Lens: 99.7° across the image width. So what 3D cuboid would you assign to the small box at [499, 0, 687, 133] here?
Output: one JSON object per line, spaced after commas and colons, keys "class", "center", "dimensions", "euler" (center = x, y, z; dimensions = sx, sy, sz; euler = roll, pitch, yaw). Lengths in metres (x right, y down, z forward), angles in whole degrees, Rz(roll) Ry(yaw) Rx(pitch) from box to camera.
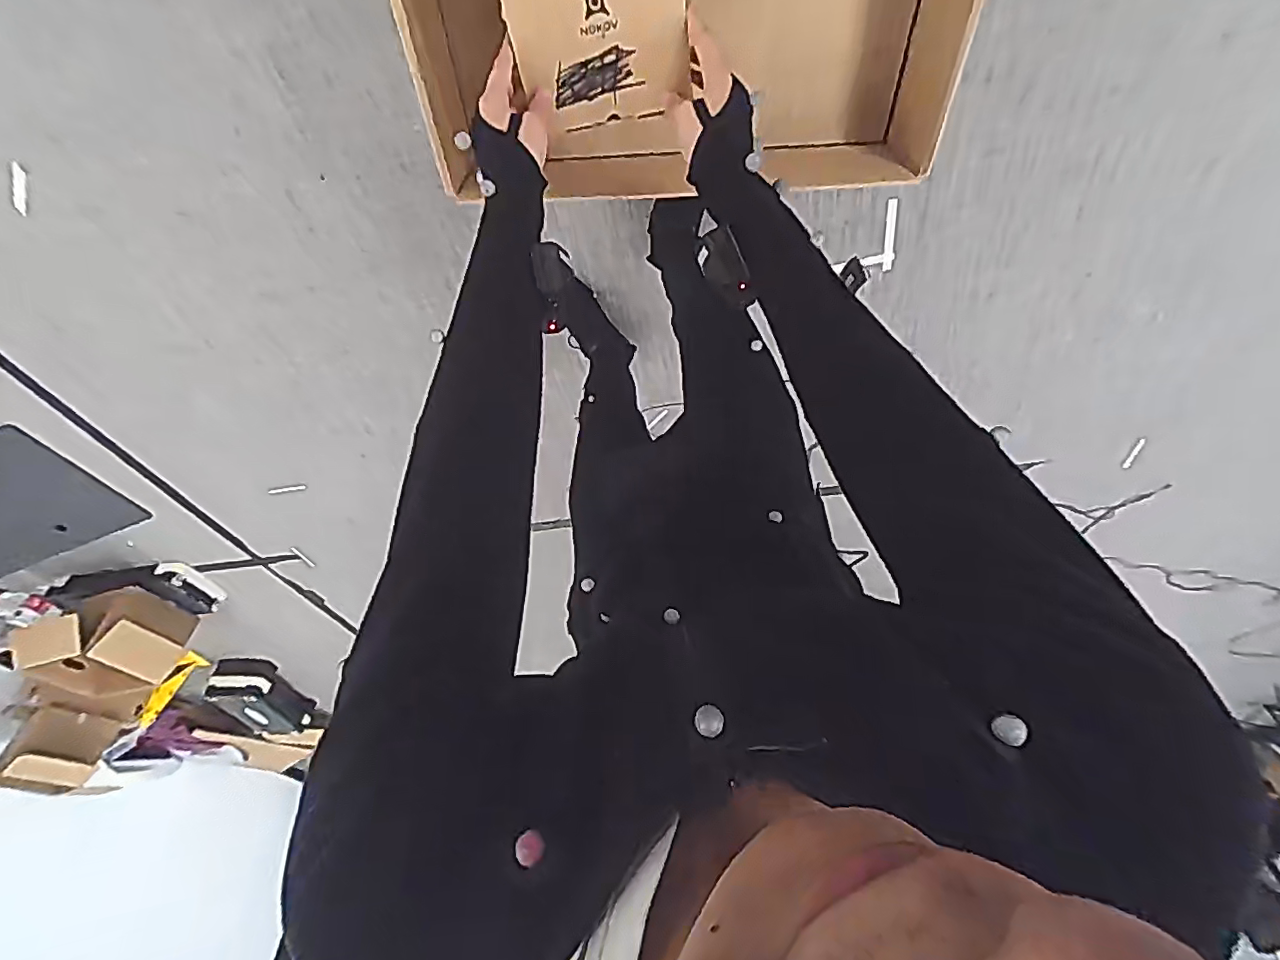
{"class": "small box", "center": [-0.044, -0.485, 0.544], "dimensions": [0.168, 0.176, 0.179], "euler": [-7, 136, 6]}
